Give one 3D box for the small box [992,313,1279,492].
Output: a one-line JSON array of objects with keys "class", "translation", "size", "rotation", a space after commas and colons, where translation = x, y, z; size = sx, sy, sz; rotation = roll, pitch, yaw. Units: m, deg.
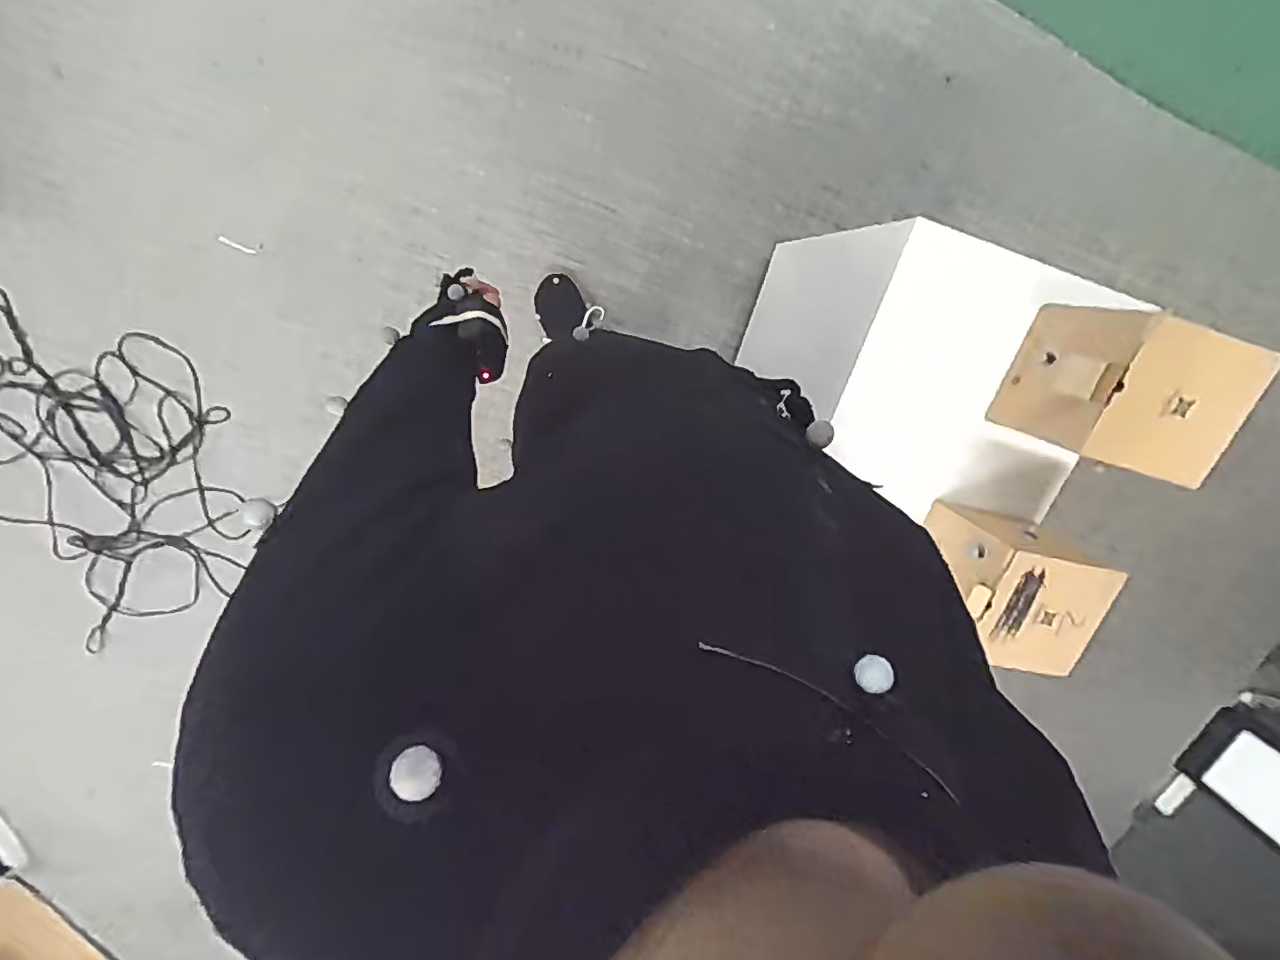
[{"class": "small box", "translation": [0.606, -0.107, 0.684], "size": [0.179, 0.176, 0.168], "rotation": [14, 109, -8]}]
